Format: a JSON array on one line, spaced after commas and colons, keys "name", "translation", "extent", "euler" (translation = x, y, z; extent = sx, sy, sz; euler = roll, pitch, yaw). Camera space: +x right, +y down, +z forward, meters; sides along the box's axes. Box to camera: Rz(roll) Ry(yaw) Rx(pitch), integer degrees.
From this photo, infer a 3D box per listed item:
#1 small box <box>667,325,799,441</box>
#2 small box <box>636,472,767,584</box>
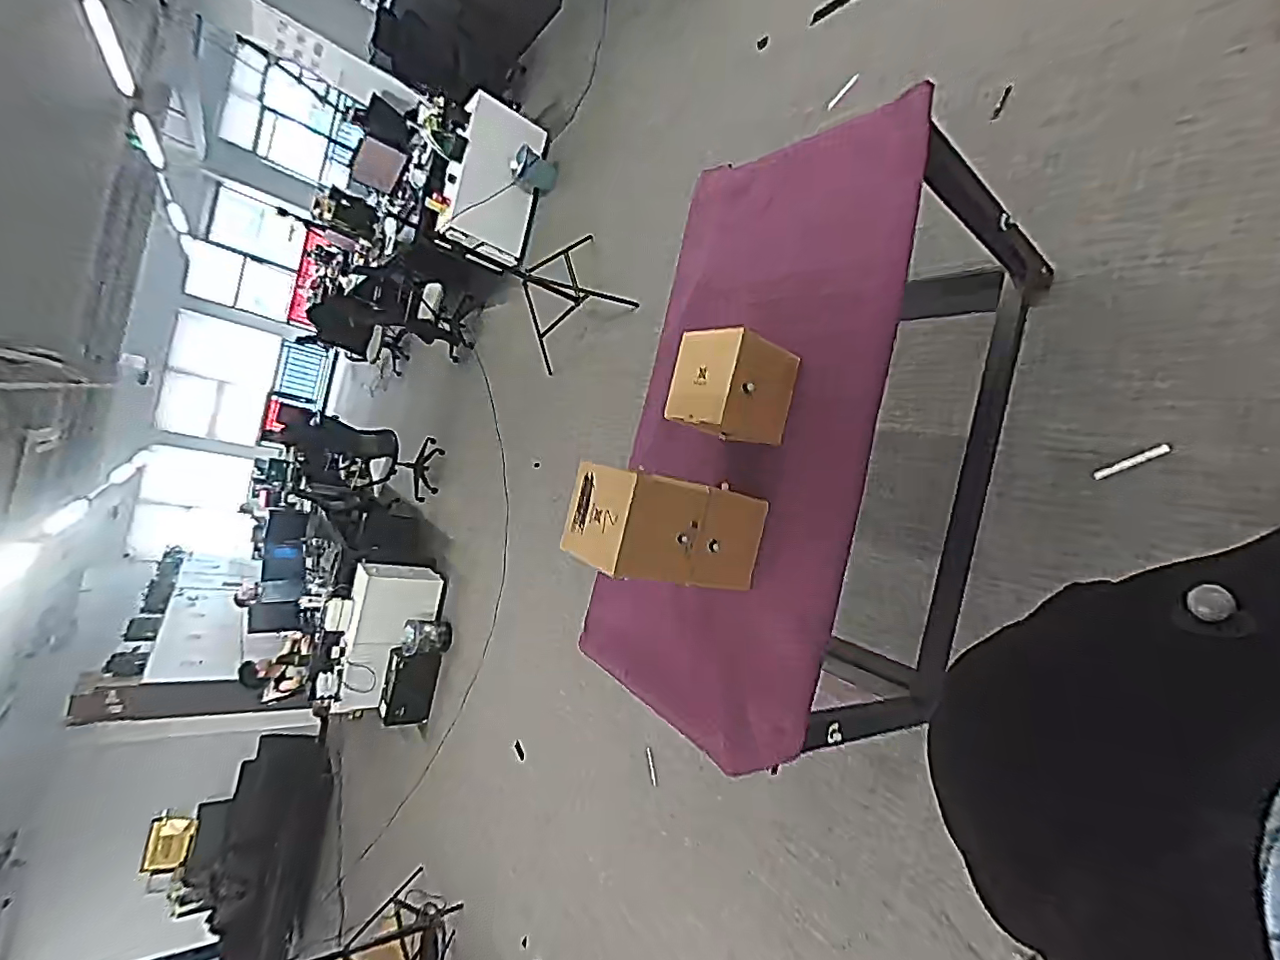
[{"name": "small box", "translation": [0.183, -0.185, 1.048], "extent": [0.168, 0.176, 0.179], "euler": [16, 93, 53]}, {"name": "small box", "translation": [0.120, 0.094, 1.046], "extent": [0.168, 0.176, 0.179], "euler": [15, 91, 53]}]
